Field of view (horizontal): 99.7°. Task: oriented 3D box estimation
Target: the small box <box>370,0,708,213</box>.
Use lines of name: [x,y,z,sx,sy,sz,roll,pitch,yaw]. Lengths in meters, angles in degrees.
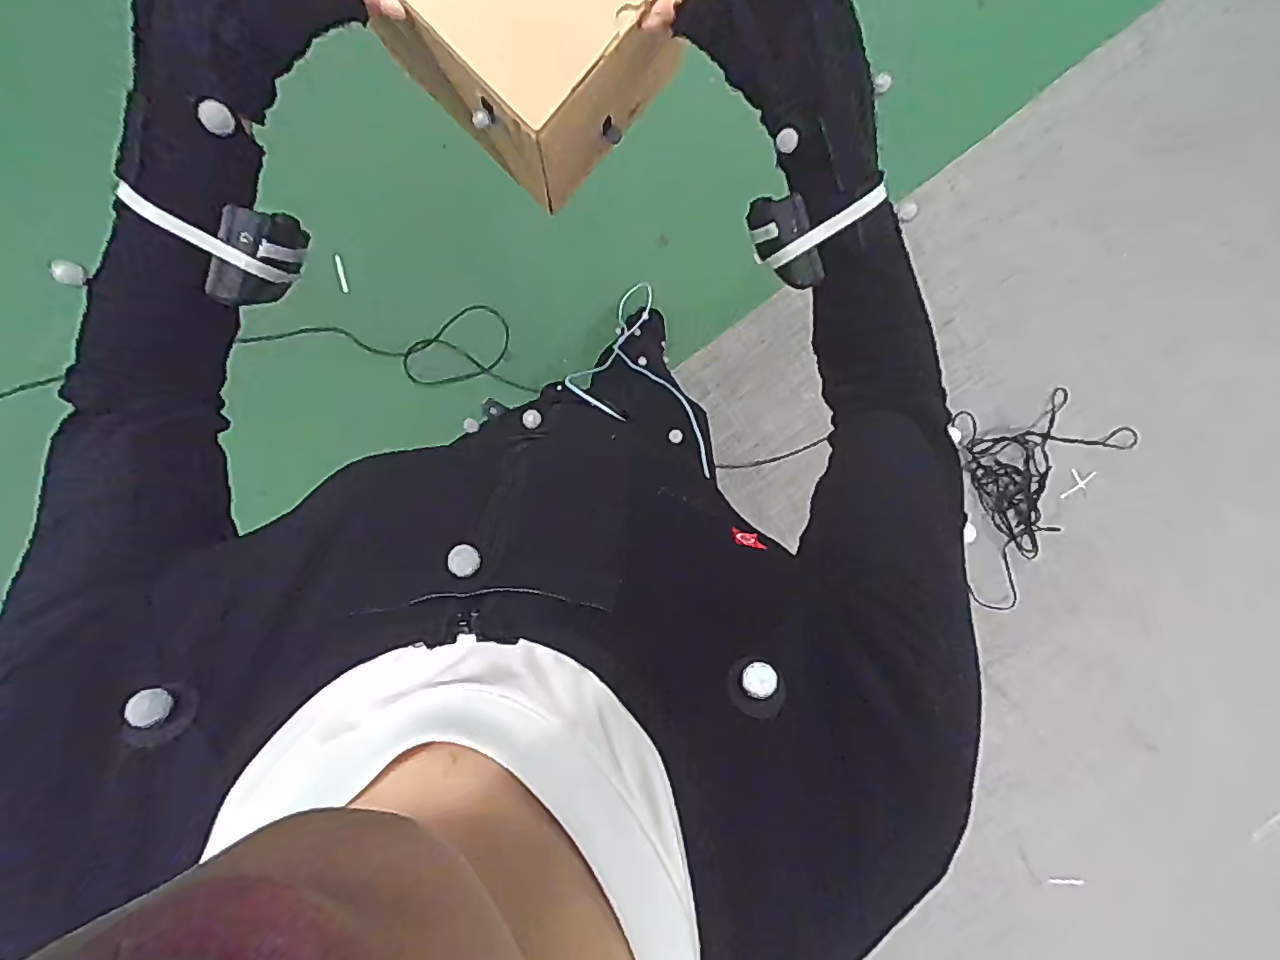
small box: [-0.074,-0.331,0.388,0.179,0.176,0.168,42,93,-13]
